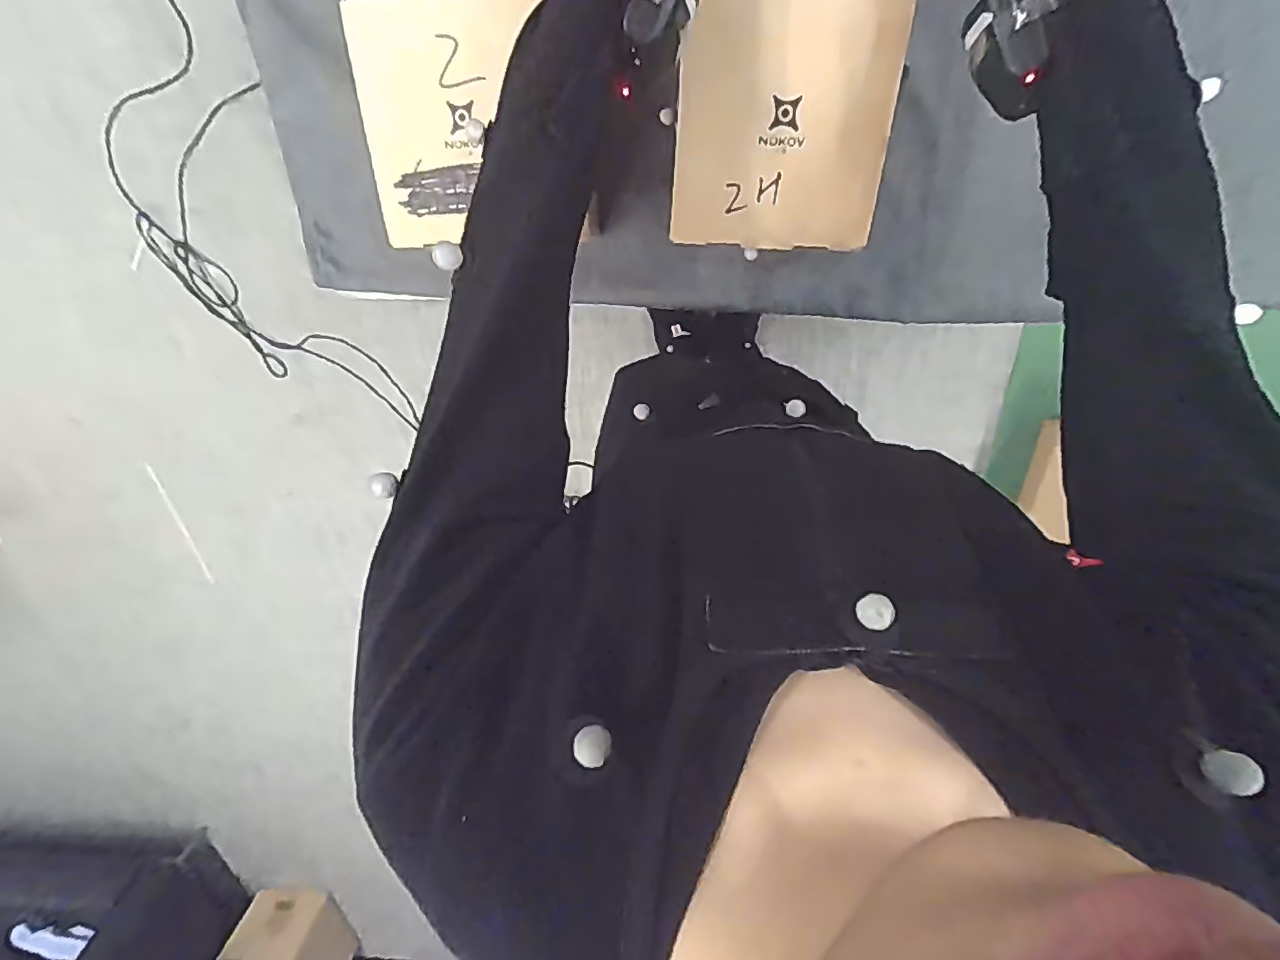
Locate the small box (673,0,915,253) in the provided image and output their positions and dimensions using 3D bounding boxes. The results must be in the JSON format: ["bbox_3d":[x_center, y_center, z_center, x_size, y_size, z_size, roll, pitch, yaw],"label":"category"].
[{"bbox_3d":[0.118,-0.309,0.493,0.168,0.176,0.179,4,117,3],"label":"small box"}]
